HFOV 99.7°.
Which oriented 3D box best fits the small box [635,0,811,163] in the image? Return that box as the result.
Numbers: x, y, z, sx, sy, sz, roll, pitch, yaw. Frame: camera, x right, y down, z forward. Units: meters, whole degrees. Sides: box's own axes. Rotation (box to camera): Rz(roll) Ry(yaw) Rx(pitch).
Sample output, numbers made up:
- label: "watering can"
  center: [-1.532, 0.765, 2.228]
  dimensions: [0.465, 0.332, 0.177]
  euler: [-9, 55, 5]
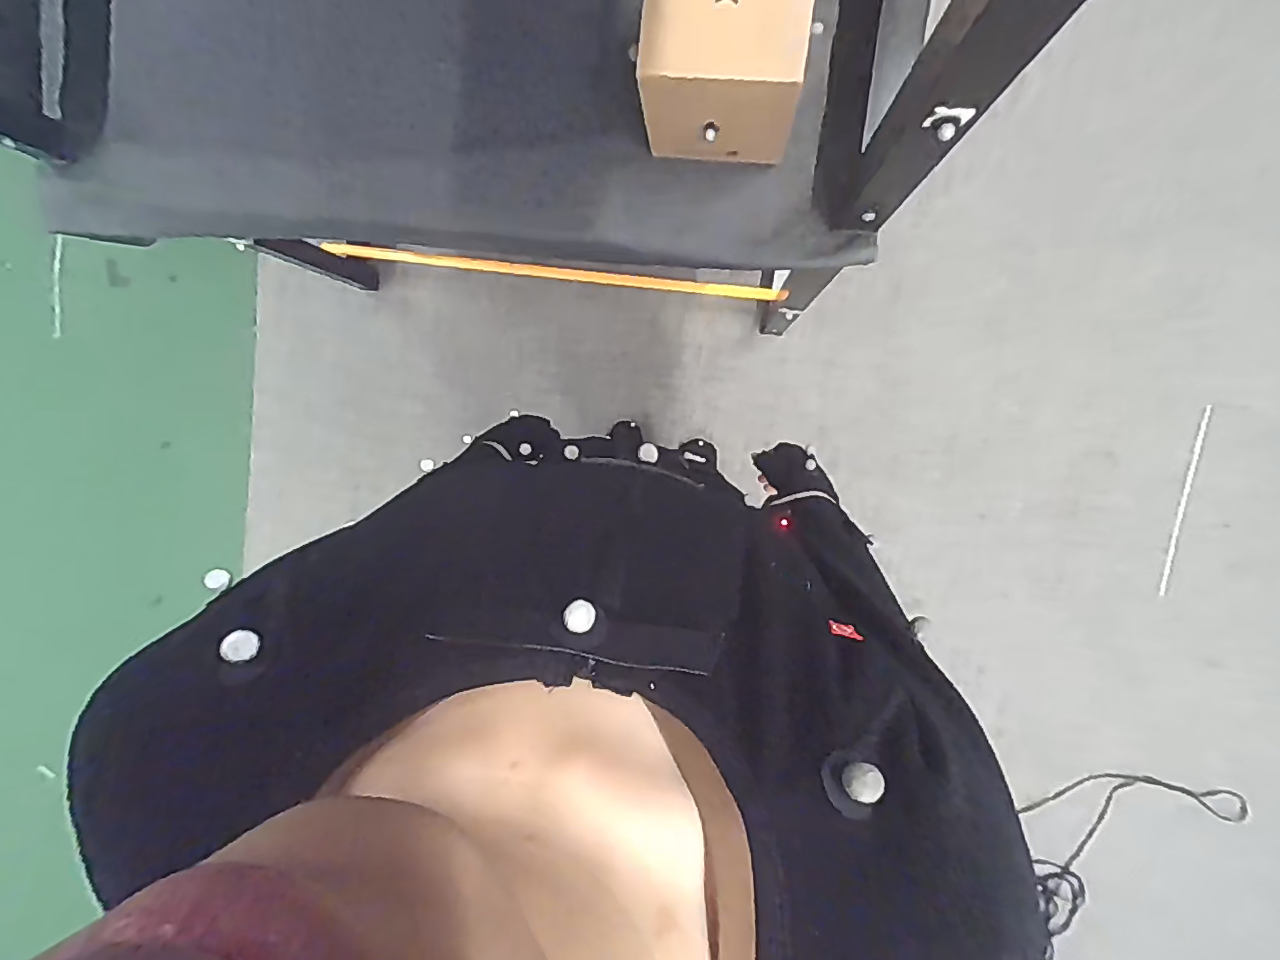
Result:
- label: "small box"
  center: [0.095, -0.485, 0.605]
  dimensions: [0.168, 0.176, 0.179]
  euler: [8, 96, 5]
